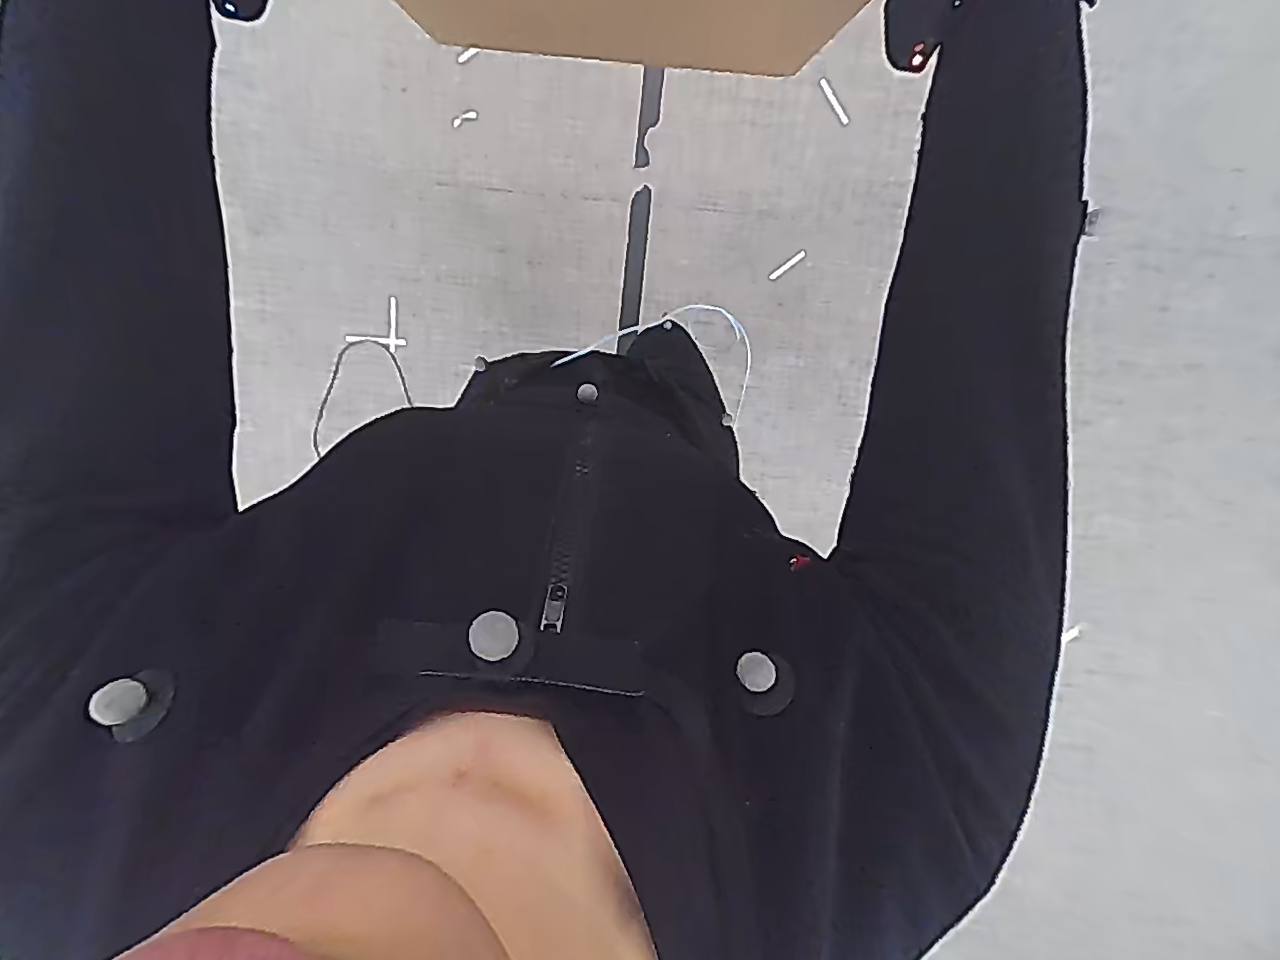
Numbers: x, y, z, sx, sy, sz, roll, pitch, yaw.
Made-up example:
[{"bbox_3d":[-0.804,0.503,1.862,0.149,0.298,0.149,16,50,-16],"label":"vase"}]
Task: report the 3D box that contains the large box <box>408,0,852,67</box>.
[{"bbox_3d":[-0.011,-0.556,0.413,0.408,0.320,0.320,3,115,-3],"label":"large box"}]
